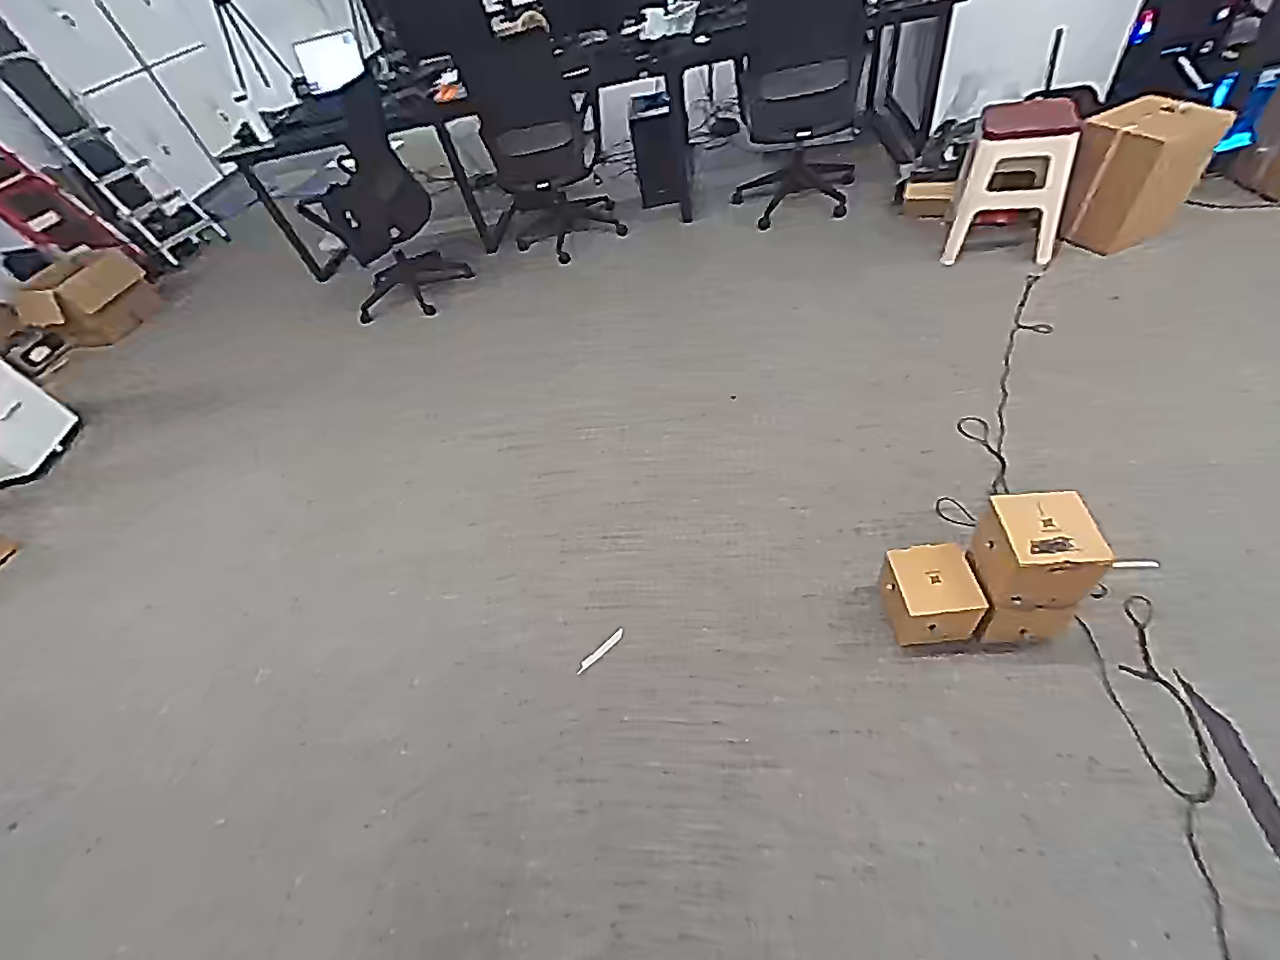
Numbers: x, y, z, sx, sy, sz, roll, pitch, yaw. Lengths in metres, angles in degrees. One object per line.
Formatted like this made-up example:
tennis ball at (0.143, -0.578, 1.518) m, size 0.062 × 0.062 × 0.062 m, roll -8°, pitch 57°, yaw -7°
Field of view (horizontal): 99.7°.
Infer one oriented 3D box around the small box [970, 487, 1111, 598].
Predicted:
small box at (0.828, 0.138, 1.139) m, size 0.168 × 0.176 × 0.179 m, roll -4°, pitch 48°, yaw 11°
